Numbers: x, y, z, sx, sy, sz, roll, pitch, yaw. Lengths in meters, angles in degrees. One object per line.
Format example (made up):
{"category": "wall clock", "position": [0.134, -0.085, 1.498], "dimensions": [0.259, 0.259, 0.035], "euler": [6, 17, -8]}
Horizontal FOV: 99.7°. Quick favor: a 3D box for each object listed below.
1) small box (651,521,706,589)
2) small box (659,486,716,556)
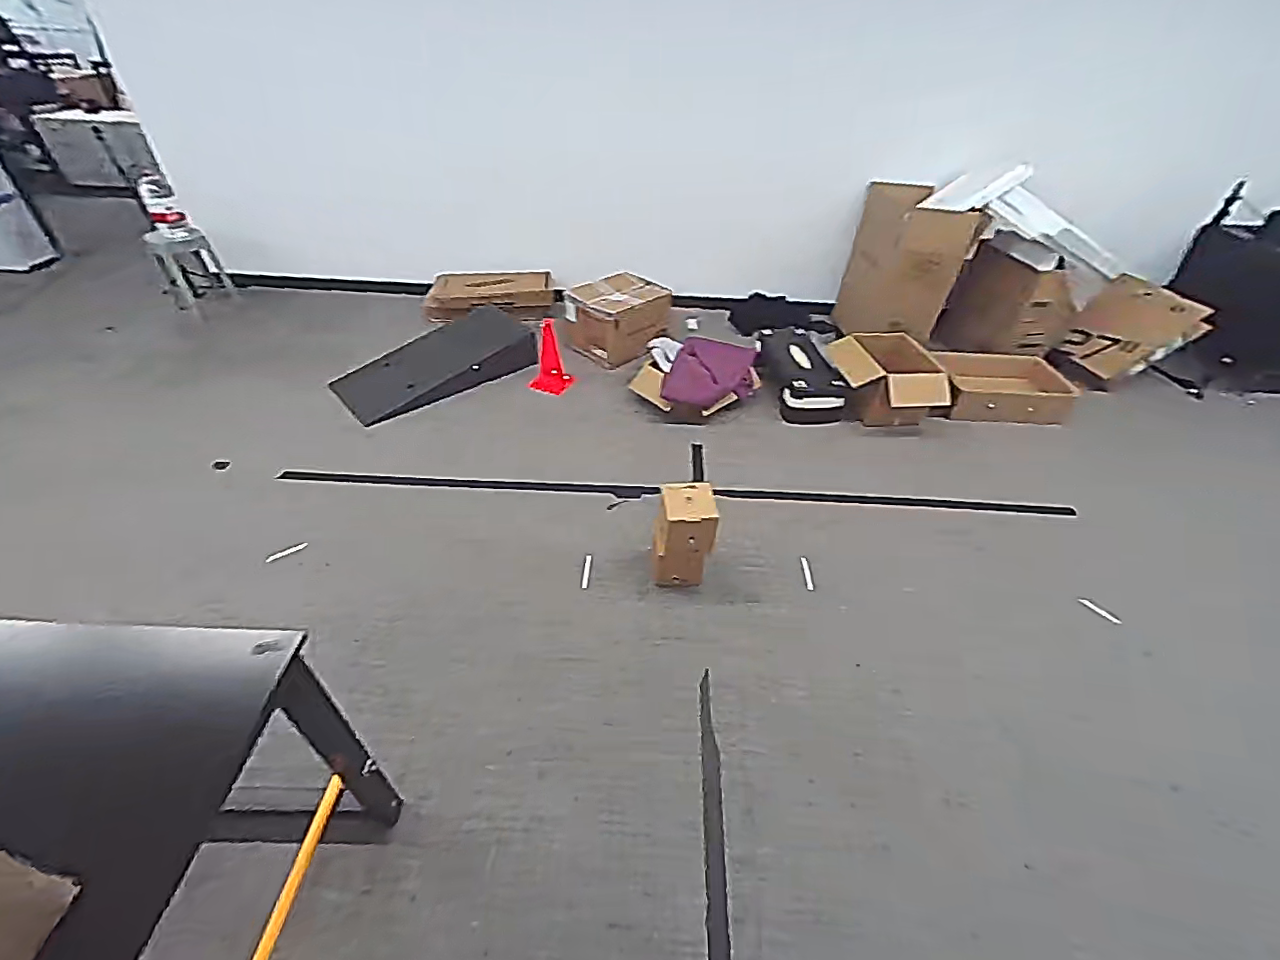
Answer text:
{"category": "small box", "position": [0.131, 0.264, 1.914], "dimensions": [0.168, 0.176, 0.179], "euler": [-2, 42, -4]}
{"category": "small box", "position": [0.154, 0.140, 1.807], "dimensions": [0.168, 0.176, 0.179], "euler": [-3, 41, -5]}
